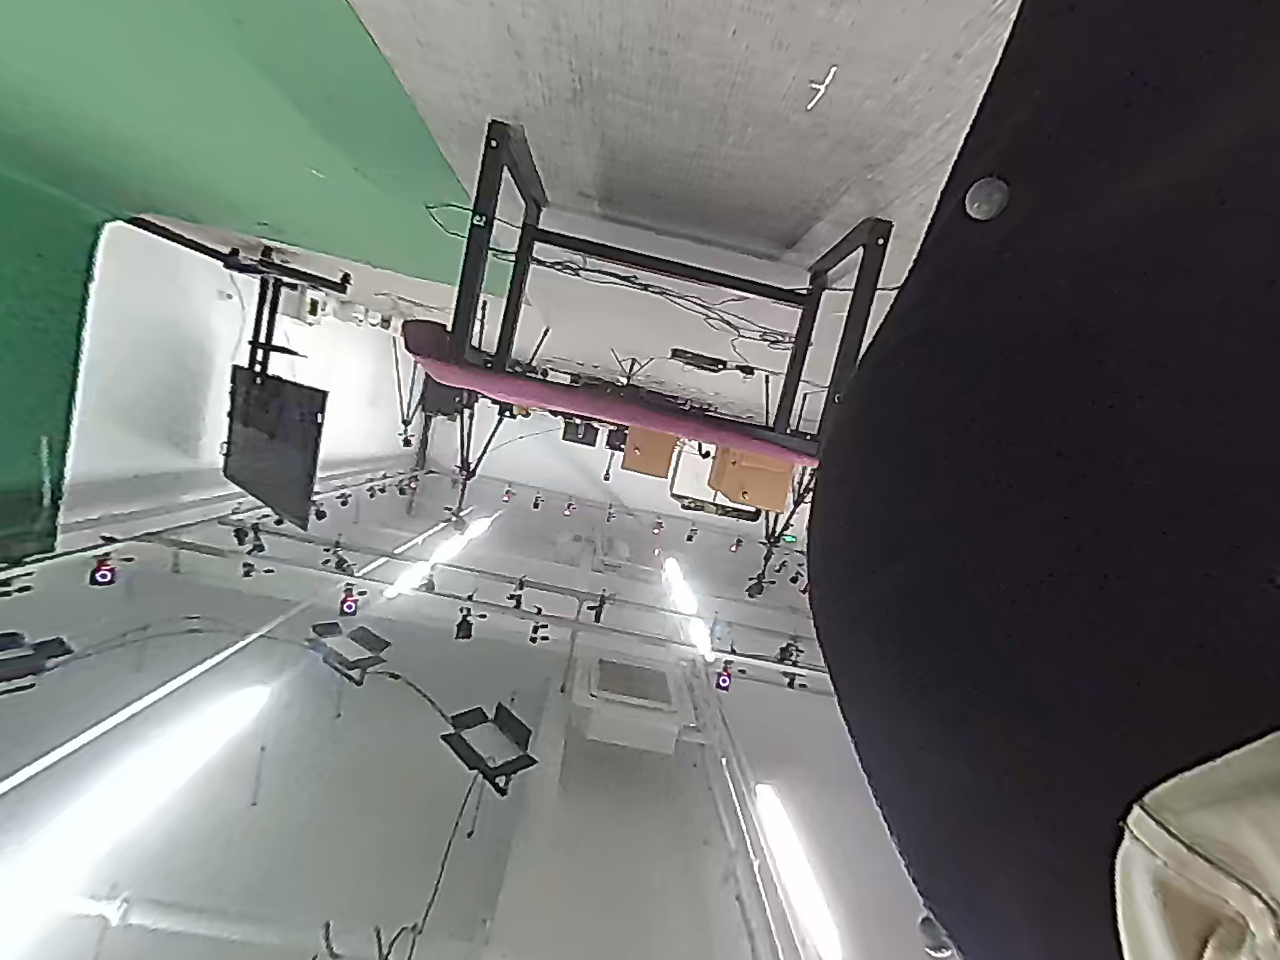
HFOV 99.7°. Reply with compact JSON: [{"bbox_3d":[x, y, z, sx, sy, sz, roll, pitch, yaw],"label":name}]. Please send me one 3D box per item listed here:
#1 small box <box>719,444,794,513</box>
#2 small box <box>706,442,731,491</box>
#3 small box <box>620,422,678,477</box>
[{"bbox_3d":[0.368,-0.010,1.717,0.179,0.176,0.168,14,-173,-4],"label":"small box"},{"bbox_3d":[0.357,-0.039,2.006,0.179,0.176,0.168,14,-176,0],"label":"small box"},{"bbox_3d":[0.029,-0.117,1.988,0.179,0.176,0.168,13,-175,-2],"label":"small box"}]
